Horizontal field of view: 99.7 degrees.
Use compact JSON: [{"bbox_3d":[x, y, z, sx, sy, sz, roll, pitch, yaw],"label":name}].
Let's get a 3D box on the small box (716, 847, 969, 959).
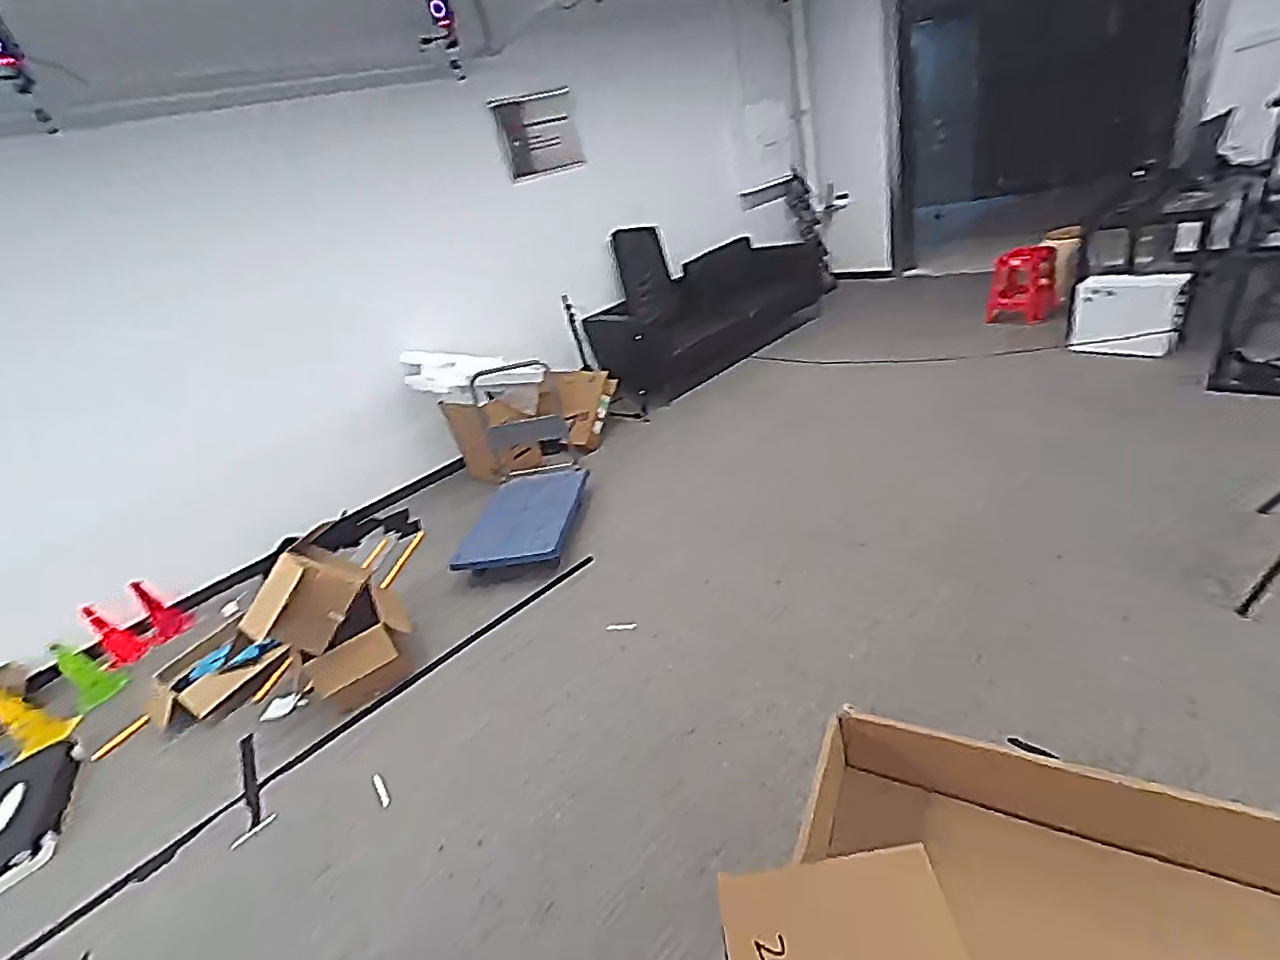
[{"bbox_3d":[0.172,0.426,0.440,0.179,0.176,0.168,-15,41,6],"label":"small box"}]
